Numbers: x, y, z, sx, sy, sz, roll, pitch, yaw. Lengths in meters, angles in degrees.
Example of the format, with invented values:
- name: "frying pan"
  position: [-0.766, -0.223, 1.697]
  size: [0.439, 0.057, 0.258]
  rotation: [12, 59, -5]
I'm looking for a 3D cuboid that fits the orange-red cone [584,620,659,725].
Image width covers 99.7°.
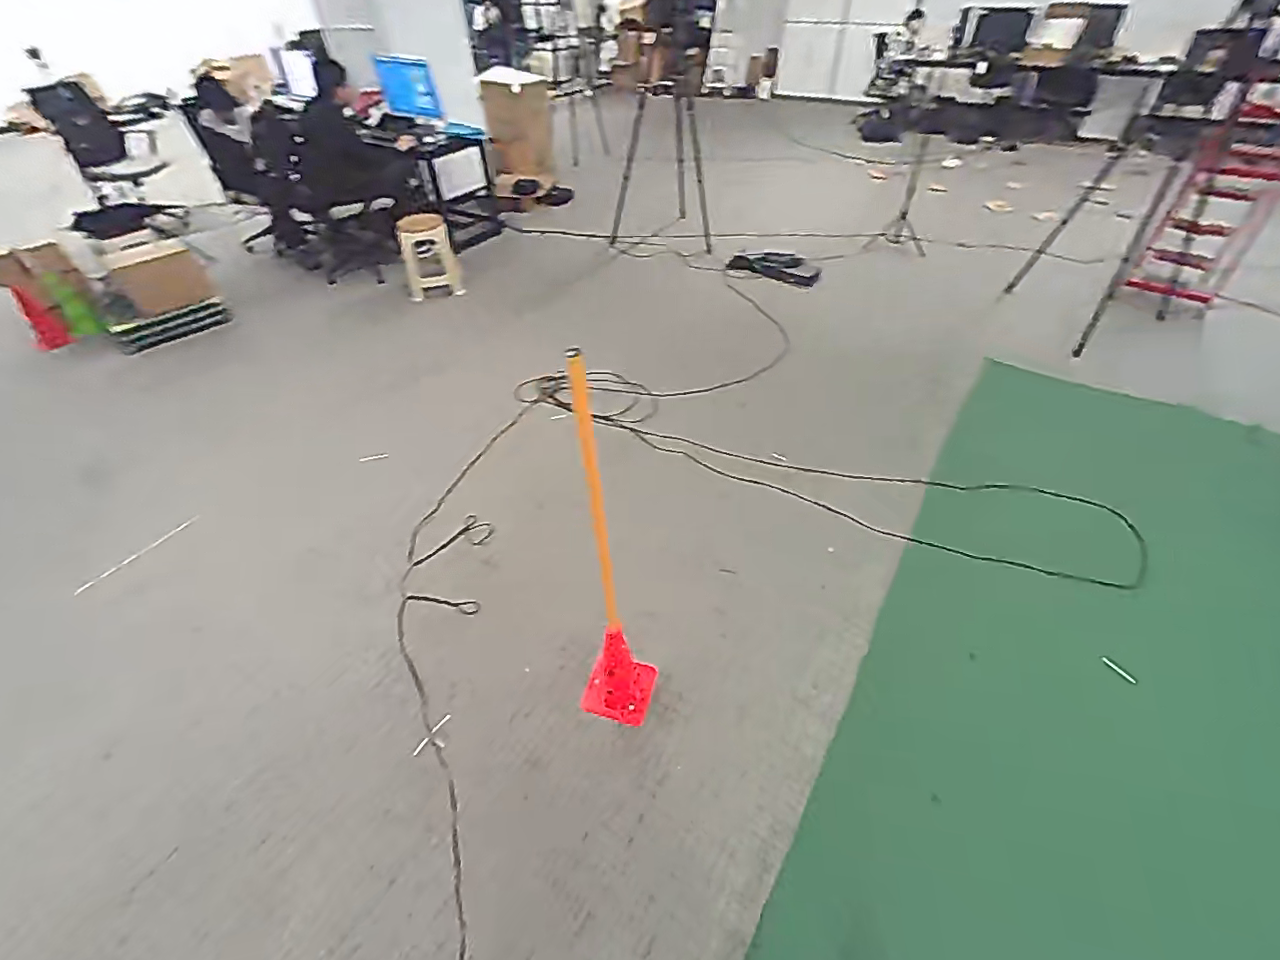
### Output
- name: "orange-red cone"
  position: [-0.058, 0.516, 1.563]
  size: [0.198, 0.360, 0.199]
  rotation: [13, 44, 14]
